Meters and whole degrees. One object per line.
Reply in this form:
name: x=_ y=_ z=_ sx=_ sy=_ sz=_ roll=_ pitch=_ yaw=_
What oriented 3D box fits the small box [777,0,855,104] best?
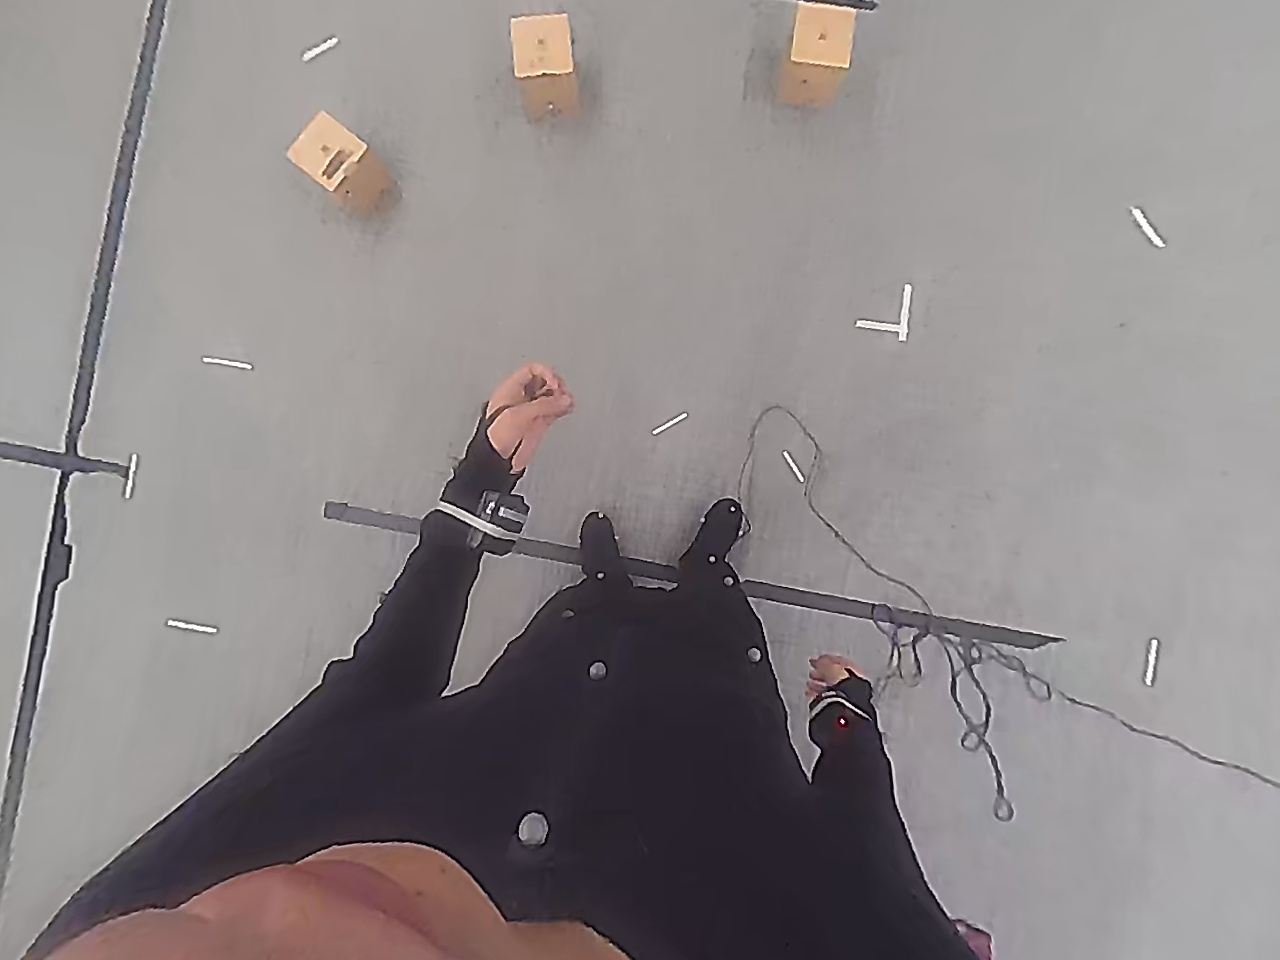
small box: x=0.508 y=-1.248 z=1.586 sx=0.168 sy=0.176 sz=0.179 roll=8 pitch=88 yaw=1

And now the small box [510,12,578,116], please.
small box: x=-0.277 y=-1.215 z=1.586 sx=0.168 sy=0.176 sz=0.179 roll=-5 pitch=89 yaw=0
